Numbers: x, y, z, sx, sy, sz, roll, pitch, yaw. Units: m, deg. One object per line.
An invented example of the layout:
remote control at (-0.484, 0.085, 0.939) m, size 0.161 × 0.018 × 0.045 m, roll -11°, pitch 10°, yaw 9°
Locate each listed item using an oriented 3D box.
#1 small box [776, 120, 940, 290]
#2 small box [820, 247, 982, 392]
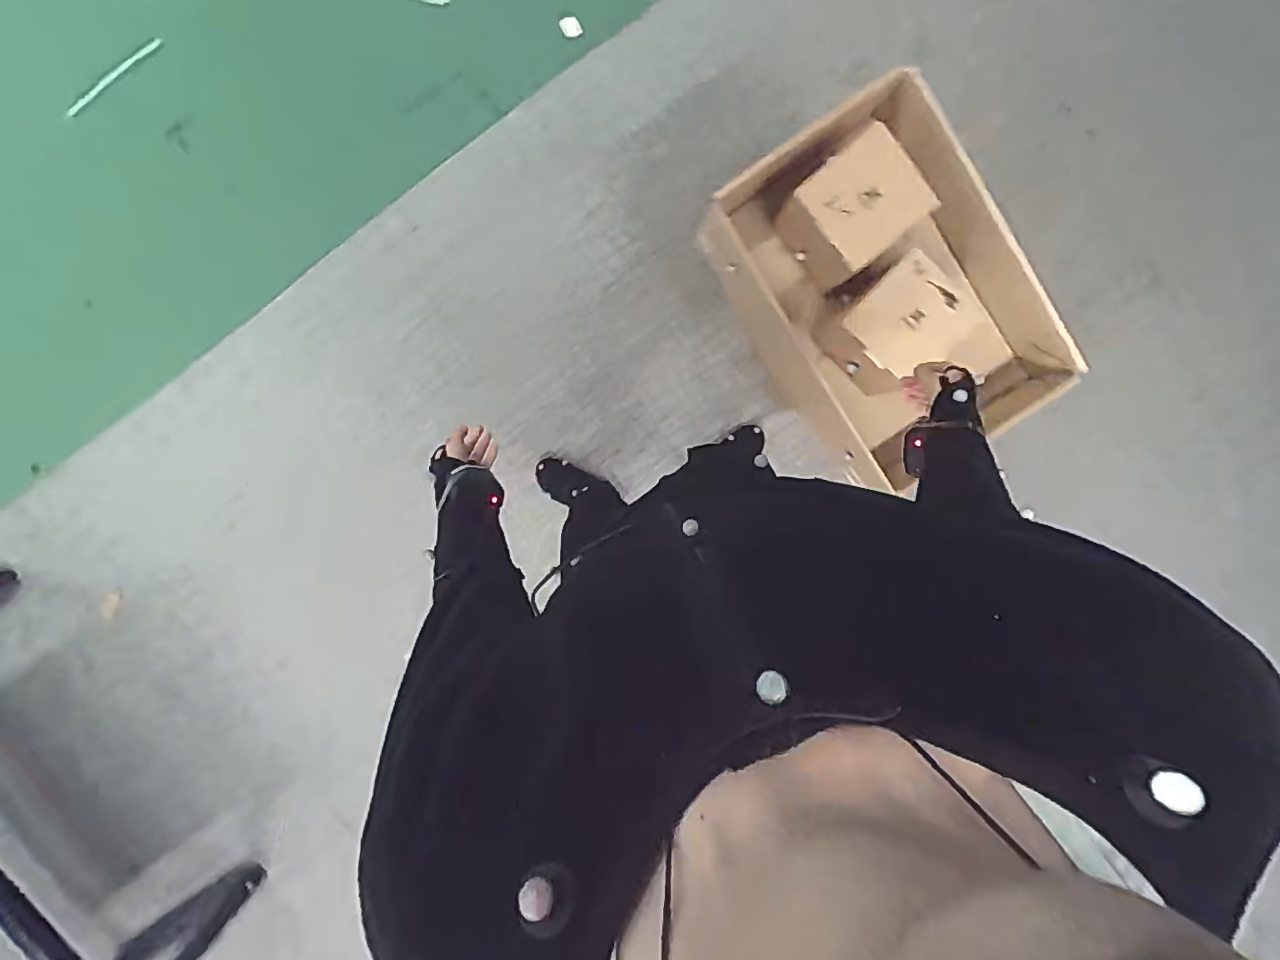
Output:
small box at (0.367, -0.465, 0.945) m, size 0.179 × 0.176 × 0.168 m, roll -38°, pitch 95°, yaw 4°
small box at (0.448, -0.273, 0.969) m, size 0.168 × 0.176 × 0.179 m, roll 44°, pitch 95°, yaw -5°
